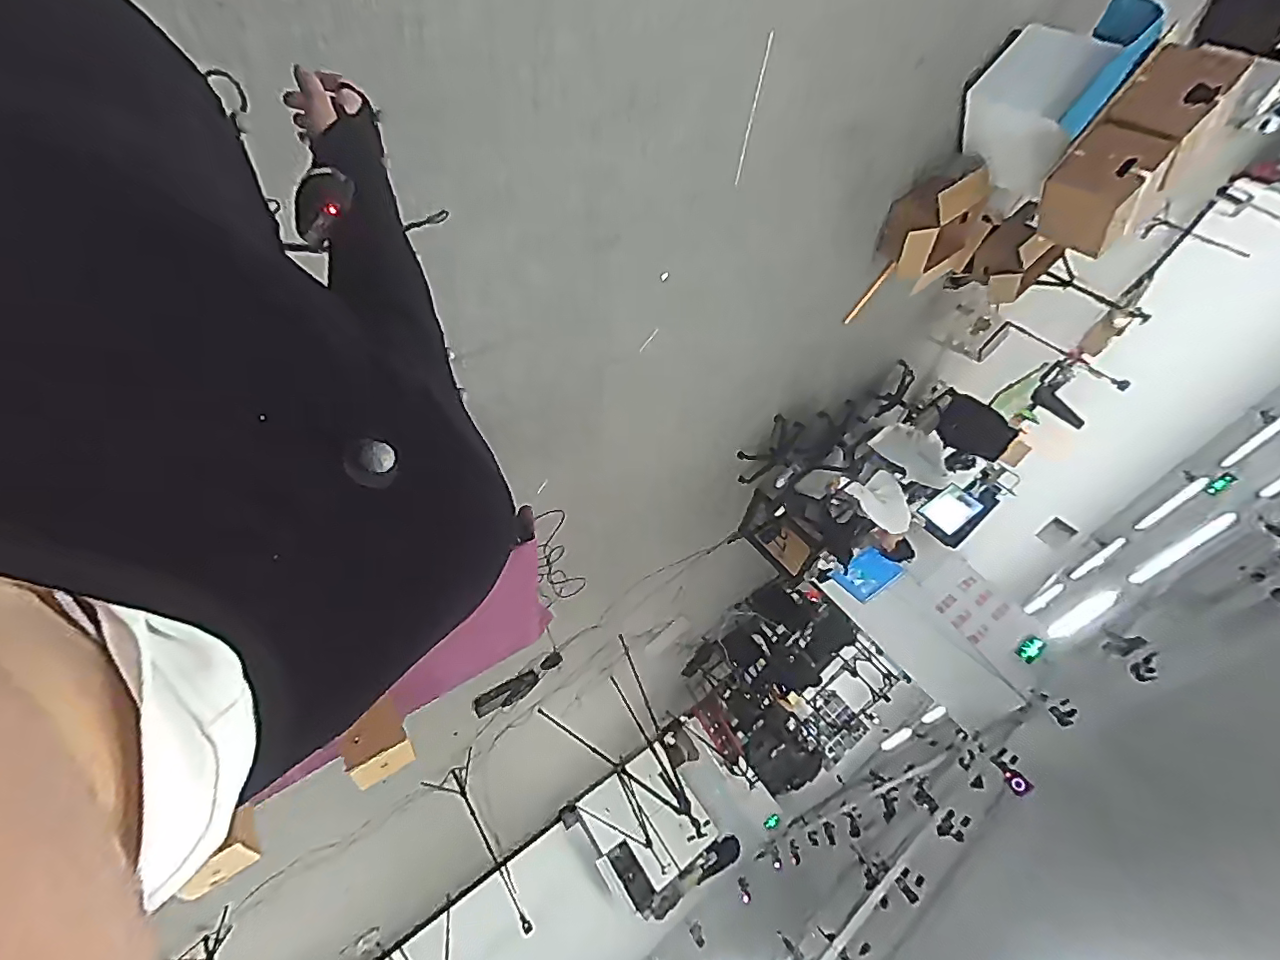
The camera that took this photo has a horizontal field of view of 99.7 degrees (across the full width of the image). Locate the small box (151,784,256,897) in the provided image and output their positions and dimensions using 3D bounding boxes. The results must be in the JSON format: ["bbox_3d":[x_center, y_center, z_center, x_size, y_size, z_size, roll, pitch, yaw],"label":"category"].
[{"bbox_3d":[-1.150,0.936,1.416,0.168,0.176,0.179,-25,144,-30],"label":"small box"}]

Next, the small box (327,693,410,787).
[{"bbox_3d":[-0.815,0.772,1.622,0.168,0.176,0.179,-23,146,-31],"label":"small box"}]
